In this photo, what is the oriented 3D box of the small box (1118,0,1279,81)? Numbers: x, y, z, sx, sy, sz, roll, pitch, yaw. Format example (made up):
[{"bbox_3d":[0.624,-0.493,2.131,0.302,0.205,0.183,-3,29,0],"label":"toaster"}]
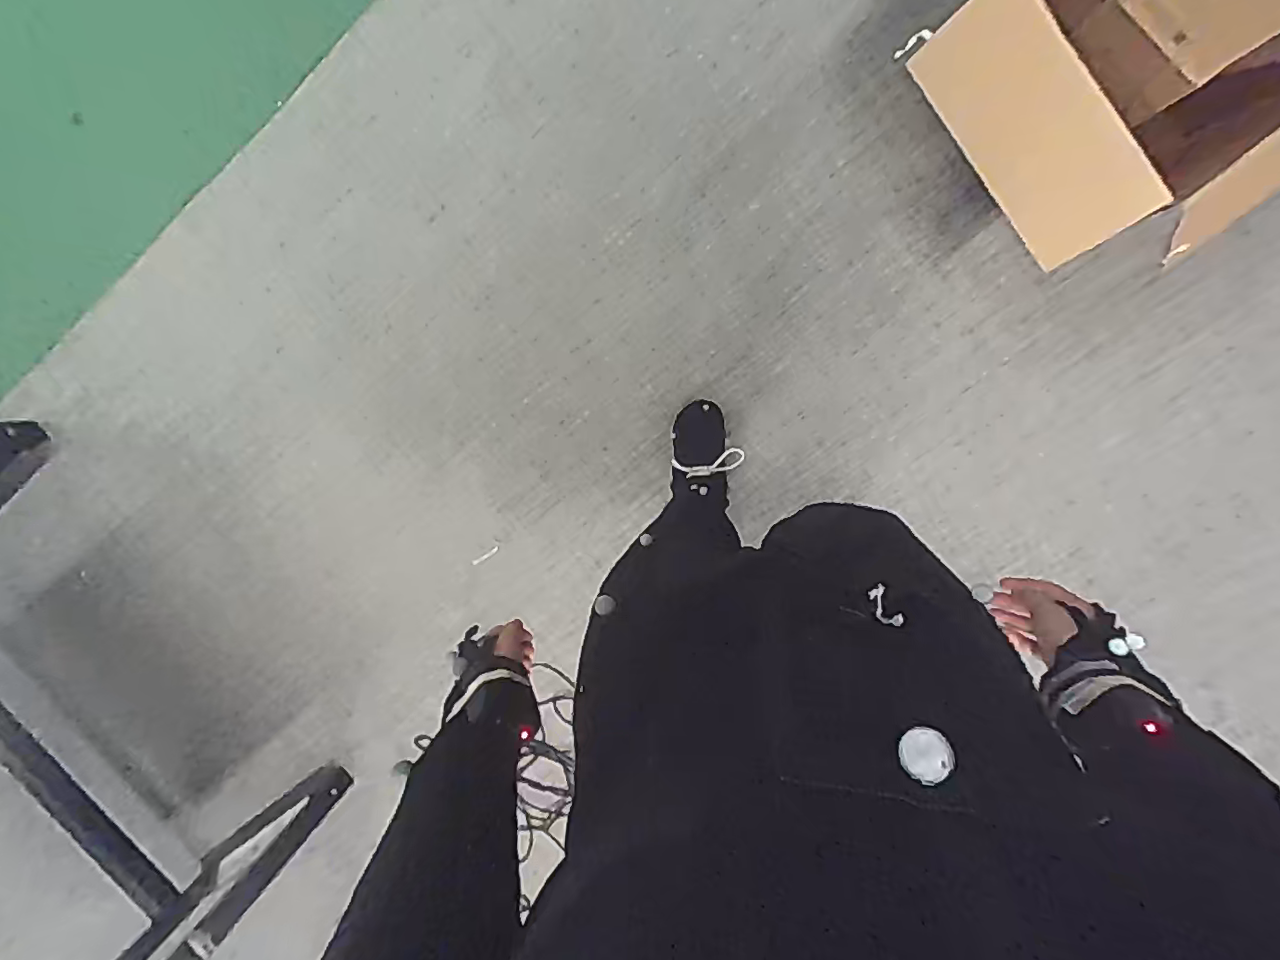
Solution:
[{"bbox_3d":[0.694,-0.605,0.598,0.168,0.176,0.179,45,99,-2],"label":"small box"}]
